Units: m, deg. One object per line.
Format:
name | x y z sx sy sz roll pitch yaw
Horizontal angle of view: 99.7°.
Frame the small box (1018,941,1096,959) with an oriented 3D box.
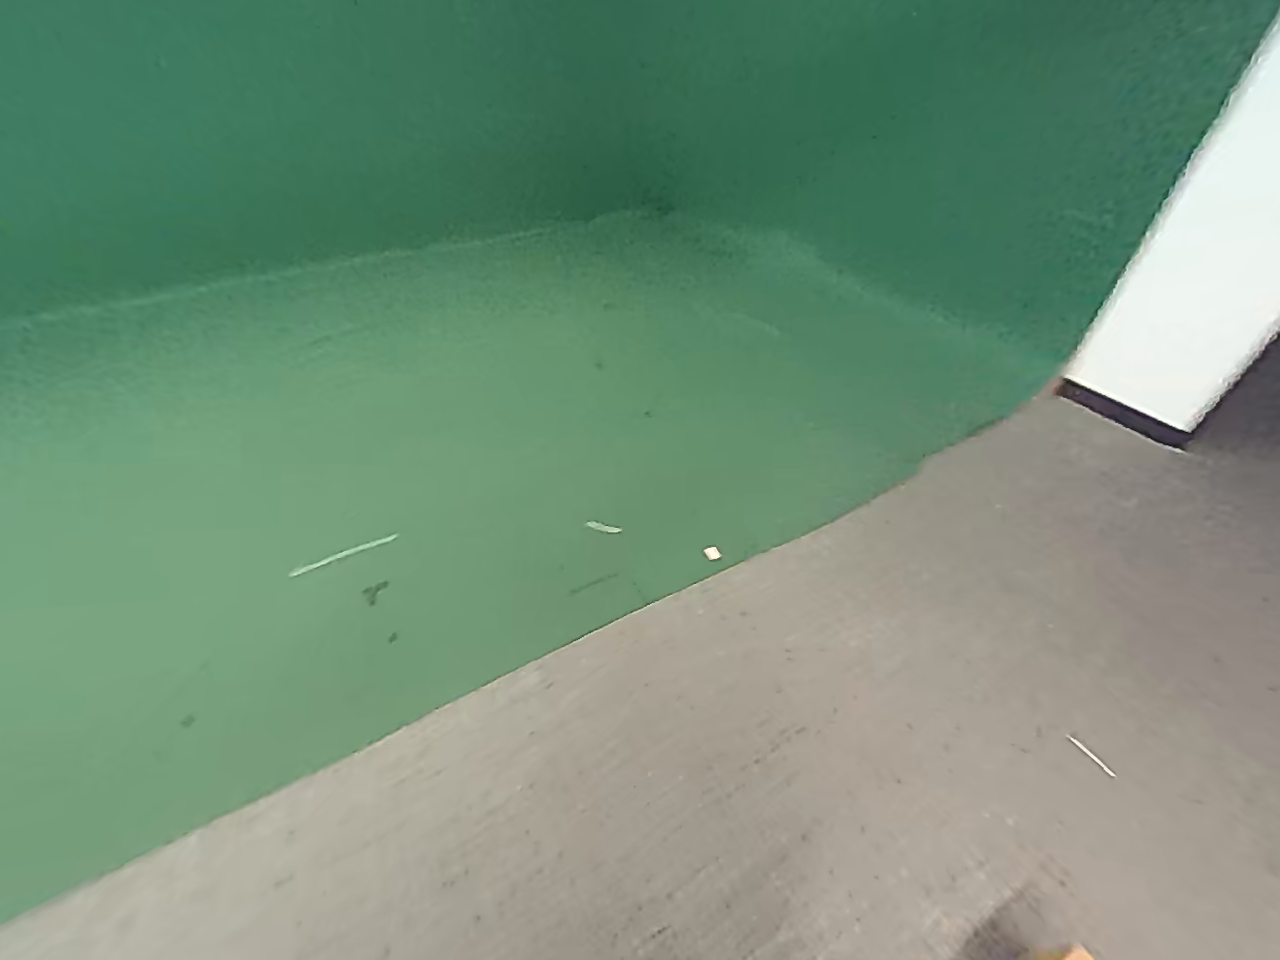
small box | 0.706 0.908 0.883 0.168 0.176 0.179 -21 47 -21
